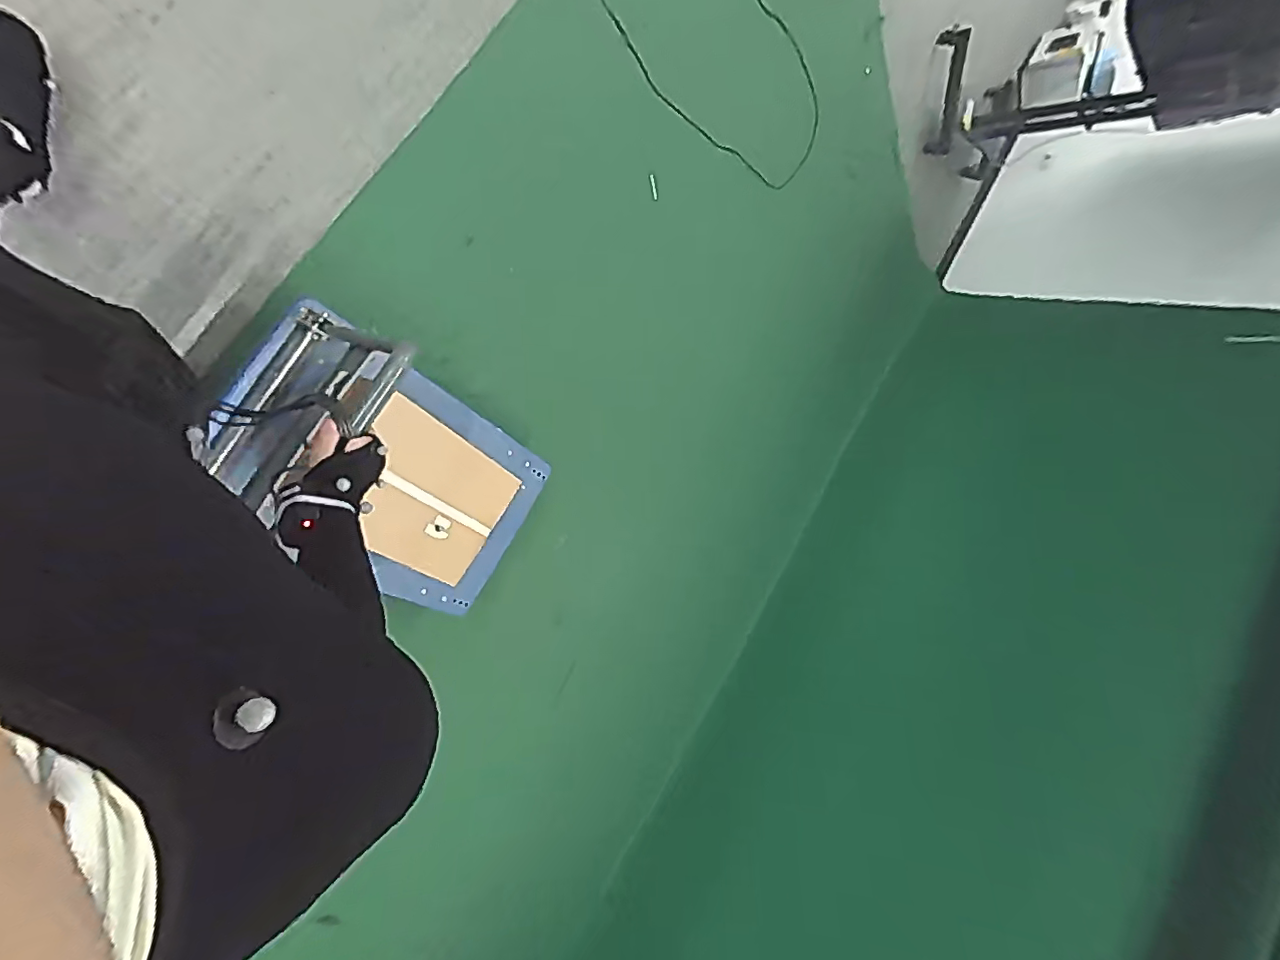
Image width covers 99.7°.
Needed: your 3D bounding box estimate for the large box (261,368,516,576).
[{"bbox_3d":[-0.599,-0.019,1.318,0.320,0.320,0.408,-58,139,-11],"label":"large box"}]
